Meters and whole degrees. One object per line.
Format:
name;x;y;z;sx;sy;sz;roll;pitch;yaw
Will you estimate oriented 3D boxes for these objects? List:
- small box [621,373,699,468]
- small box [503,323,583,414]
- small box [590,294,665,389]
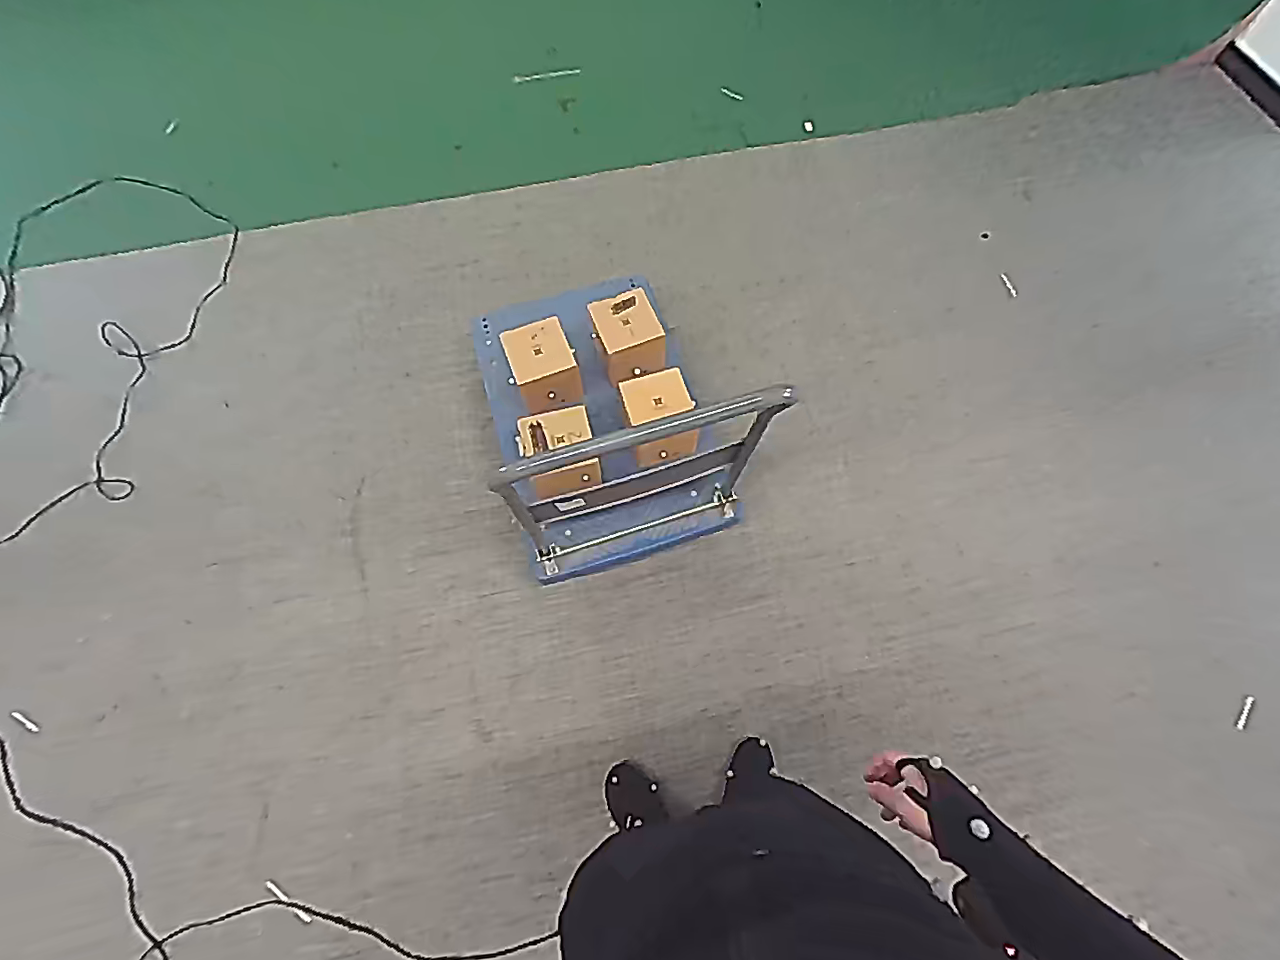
small box;0.049;-0.157;1.465;0.168;0.176;0.179;-16;69;-6
small box;-0.269;-0.306;1.529;0.168;0.176;0.179;-20;69;-8
small box;-0.036;-0.396;1.562;0.168;0.176;0.179;-21;70;-6
